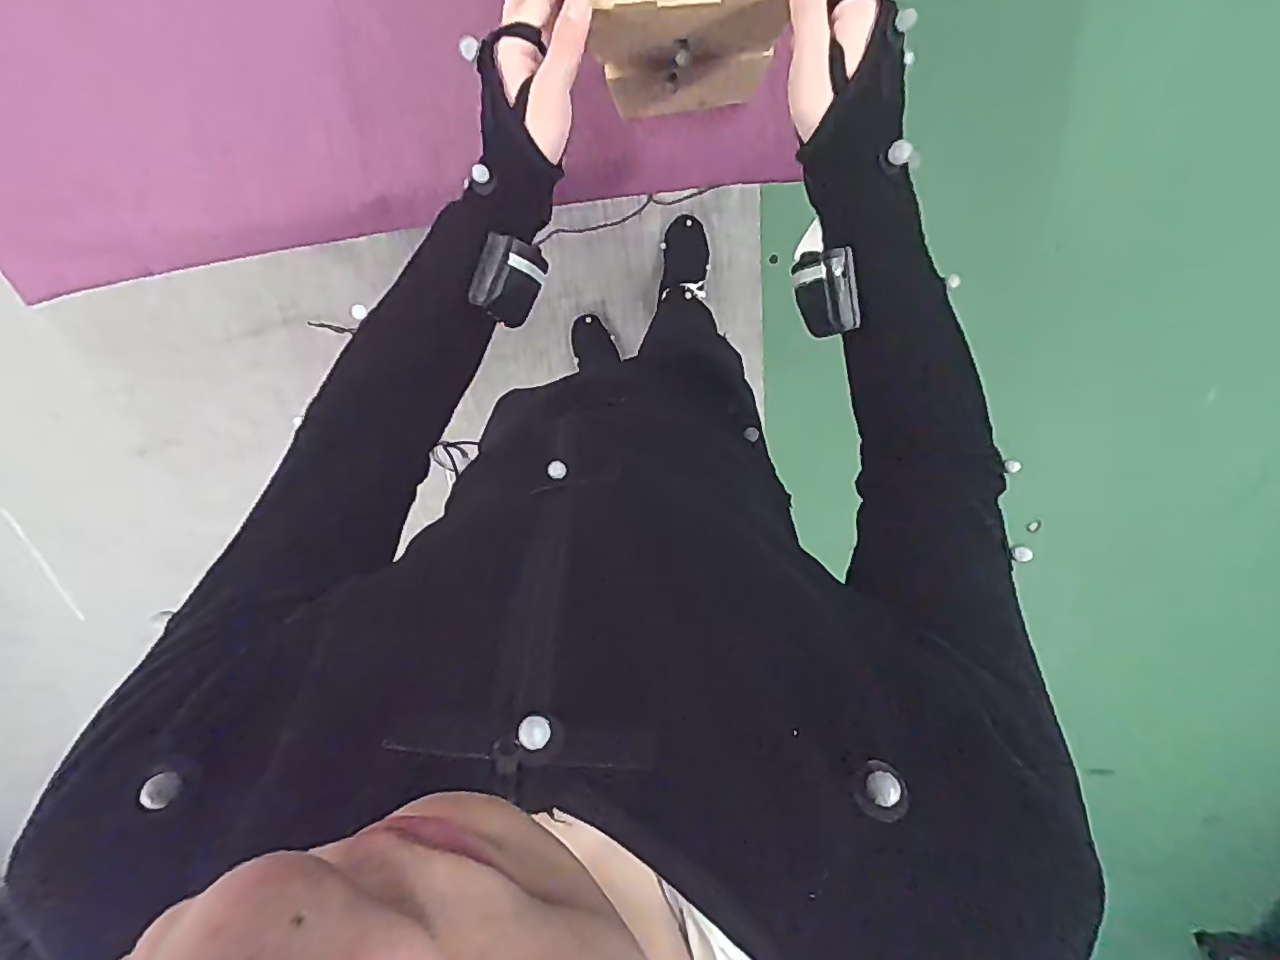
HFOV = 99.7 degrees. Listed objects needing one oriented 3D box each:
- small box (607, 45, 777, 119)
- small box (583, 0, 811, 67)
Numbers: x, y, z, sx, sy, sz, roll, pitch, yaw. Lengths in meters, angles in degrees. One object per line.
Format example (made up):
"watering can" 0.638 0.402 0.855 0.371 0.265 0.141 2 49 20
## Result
"small box" 0.046 -0.508 0.566 0.168 0.176 0.179 -4 112 5
"small box" 0.038 -0.438 0.401 0.168 0.176 0.179 -1 116 4
